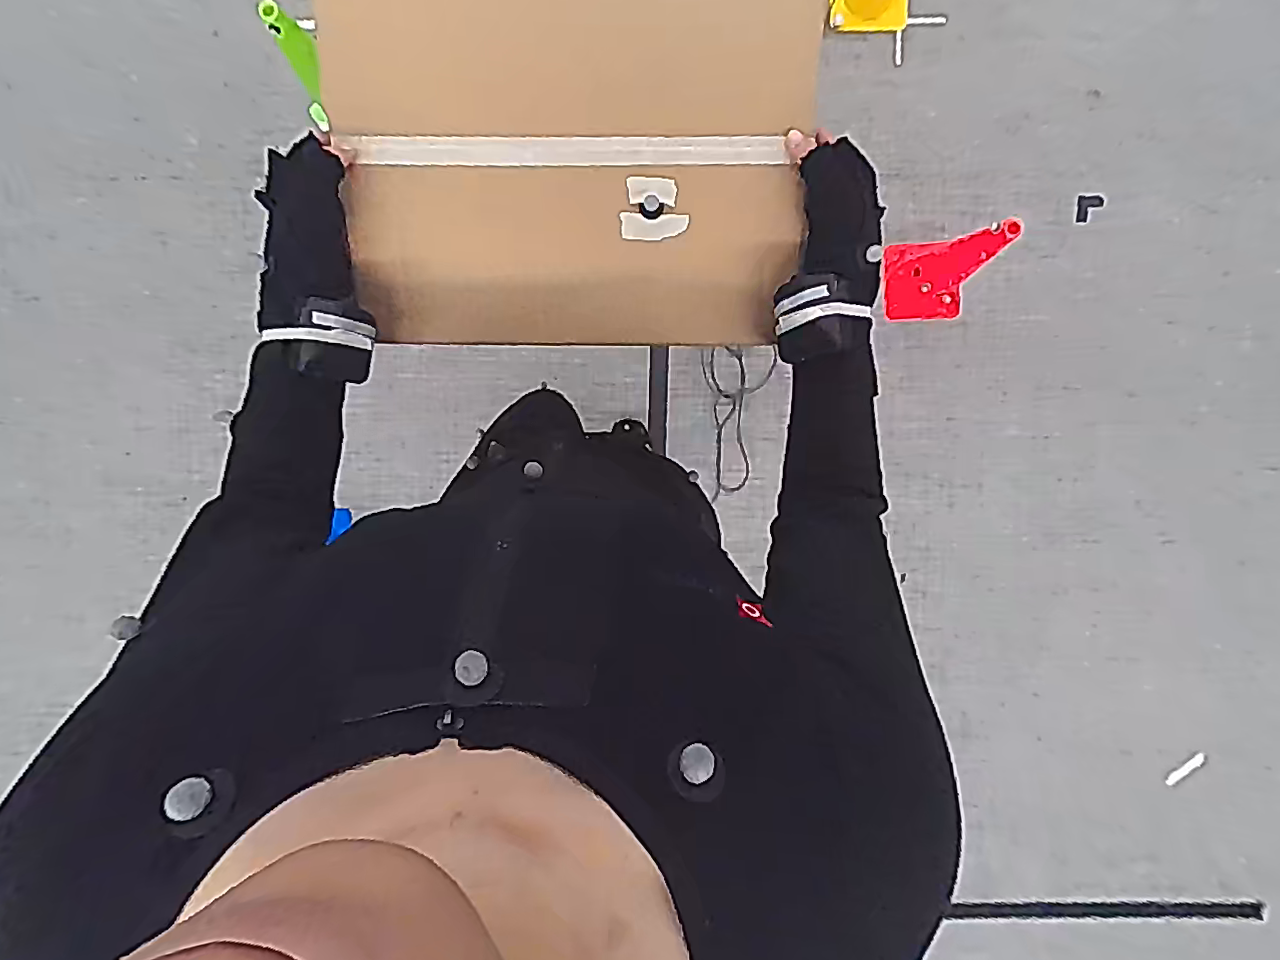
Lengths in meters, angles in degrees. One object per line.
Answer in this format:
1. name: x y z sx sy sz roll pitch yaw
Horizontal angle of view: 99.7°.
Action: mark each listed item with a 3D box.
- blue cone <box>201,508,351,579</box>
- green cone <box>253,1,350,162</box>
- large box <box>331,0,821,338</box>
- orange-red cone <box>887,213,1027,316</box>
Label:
1. blue cone: -0.890 0.181 1.318 0.192 0.380 0.193 4 93 1
2. green cone: -0.729 -0.936 1.232 0.202 0.368 0.200 -37 92 4
3. large box: -0.053 -0.323 0.605 0.408 0.320 0.320 0 105 -1
4. orange-red cone: 0.752 -0.526 1.254 0.198 0.360 0.199 -2 92 -1
